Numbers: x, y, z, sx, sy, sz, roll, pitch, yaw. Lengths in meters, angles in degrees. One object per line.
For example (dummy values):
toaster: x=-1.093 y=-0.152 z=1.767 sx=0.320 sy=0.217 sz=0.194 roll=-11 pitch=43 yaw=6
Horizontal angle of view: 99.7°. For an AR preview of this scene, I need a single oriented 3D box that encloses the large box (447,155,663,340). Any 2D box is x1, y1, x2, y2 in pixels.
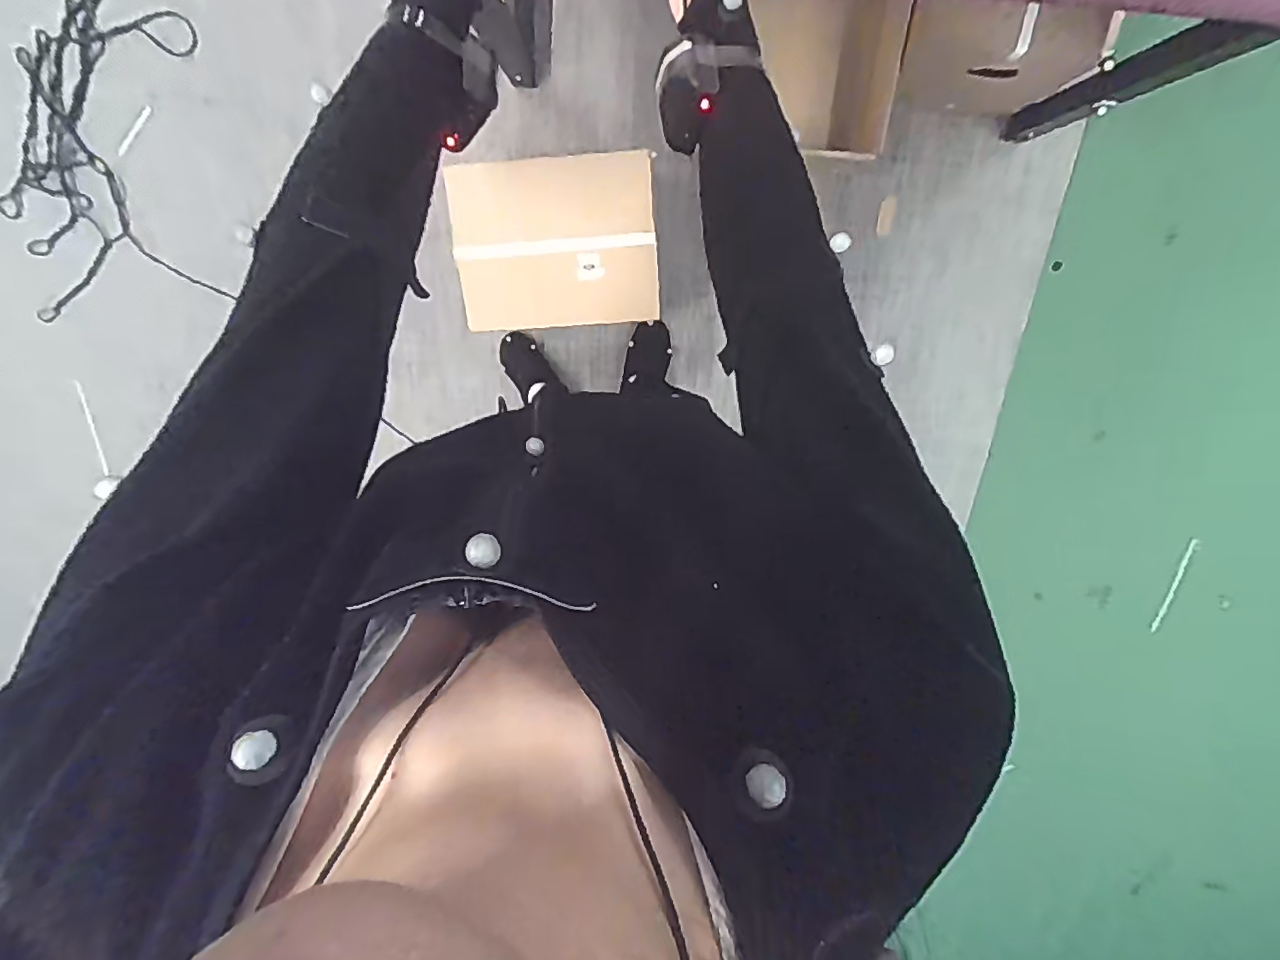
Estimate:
large box: x=-0.161 y=-0.497 z=1.211 sx=0.408 sy=0.320 sz=0.320 roll=-3 pitch=108 yaw=2
